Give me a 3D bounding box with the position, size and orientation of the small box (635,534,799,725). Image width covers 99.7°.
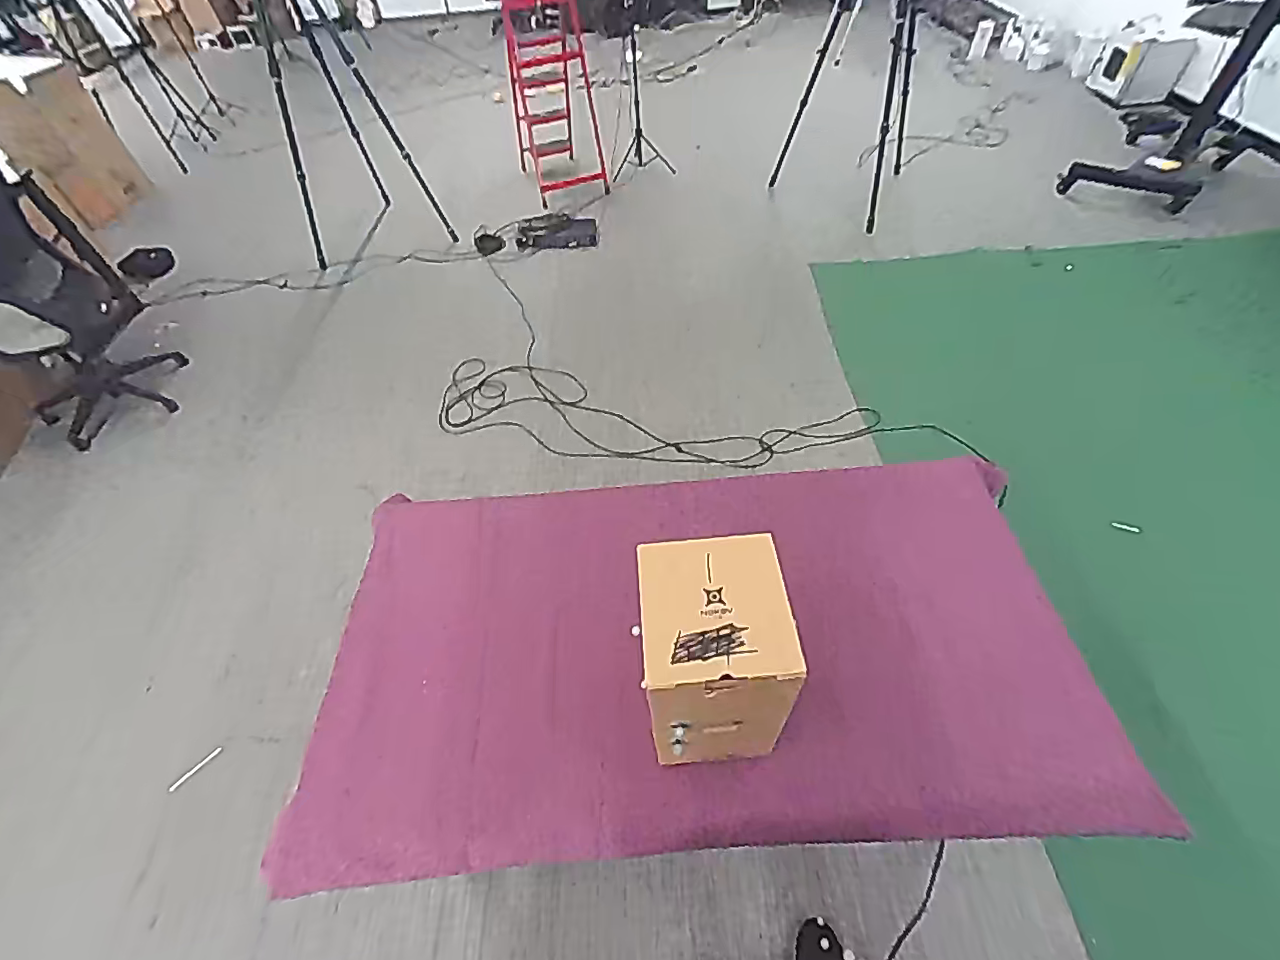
[{"bbox_3d":[0.084,0.189,0.662,0.168,0.176,0.179,-4,50,1],"label":"small box"}]
